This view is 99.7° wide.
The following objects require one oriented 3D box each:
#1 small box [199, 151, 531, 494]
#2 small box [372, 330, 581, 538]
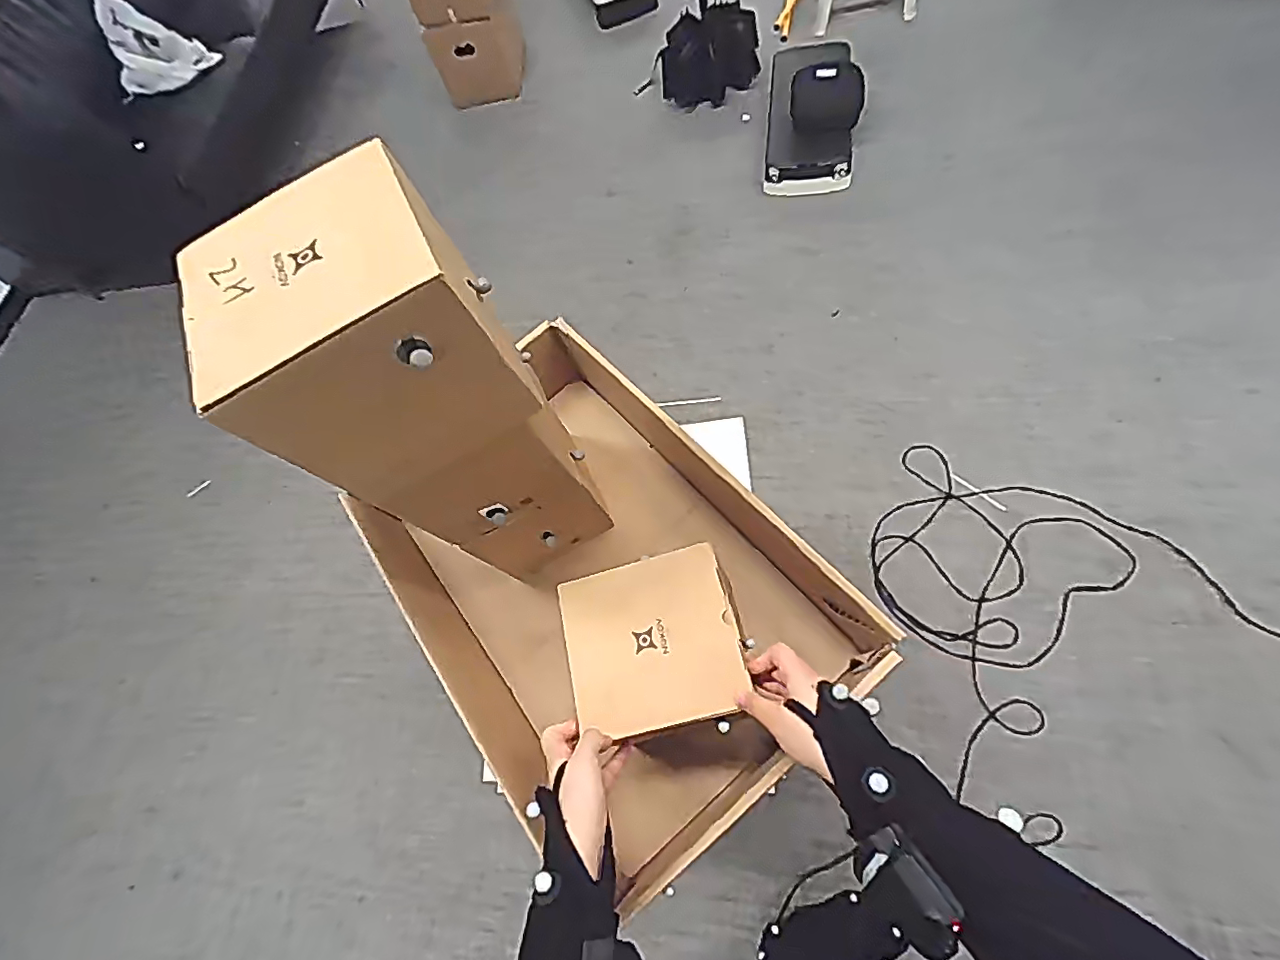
[{"bbox_3d":[-0.210,-0.117,0.450,0.179,0.176,0.168,-30,63,1],"label":"small box"},{"bbox_3d":[-0.187,-0.060,0.605,0.168,0.176,0.179,-27,65,3],"label":"small box"}]
